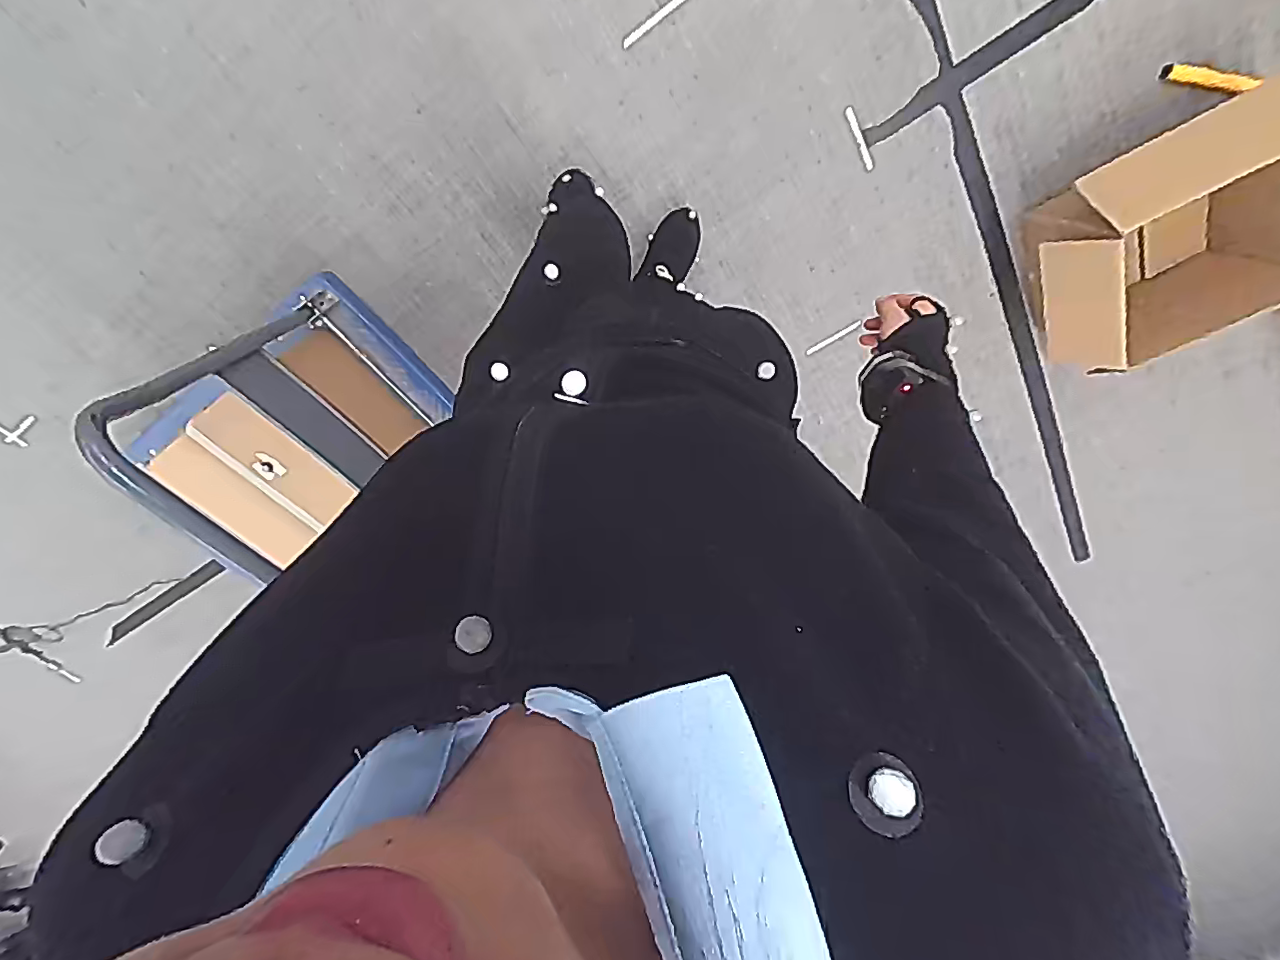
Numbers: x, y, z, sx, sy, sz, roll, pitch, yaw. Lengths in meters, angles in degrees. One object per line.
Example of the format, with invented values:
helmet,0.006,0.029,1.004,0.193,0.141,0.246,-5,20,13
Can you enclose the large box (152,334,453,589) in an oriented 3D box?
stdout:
large box,-0.702,-0.042,1.203,0.320,0.320,0.408,-31,117,15
